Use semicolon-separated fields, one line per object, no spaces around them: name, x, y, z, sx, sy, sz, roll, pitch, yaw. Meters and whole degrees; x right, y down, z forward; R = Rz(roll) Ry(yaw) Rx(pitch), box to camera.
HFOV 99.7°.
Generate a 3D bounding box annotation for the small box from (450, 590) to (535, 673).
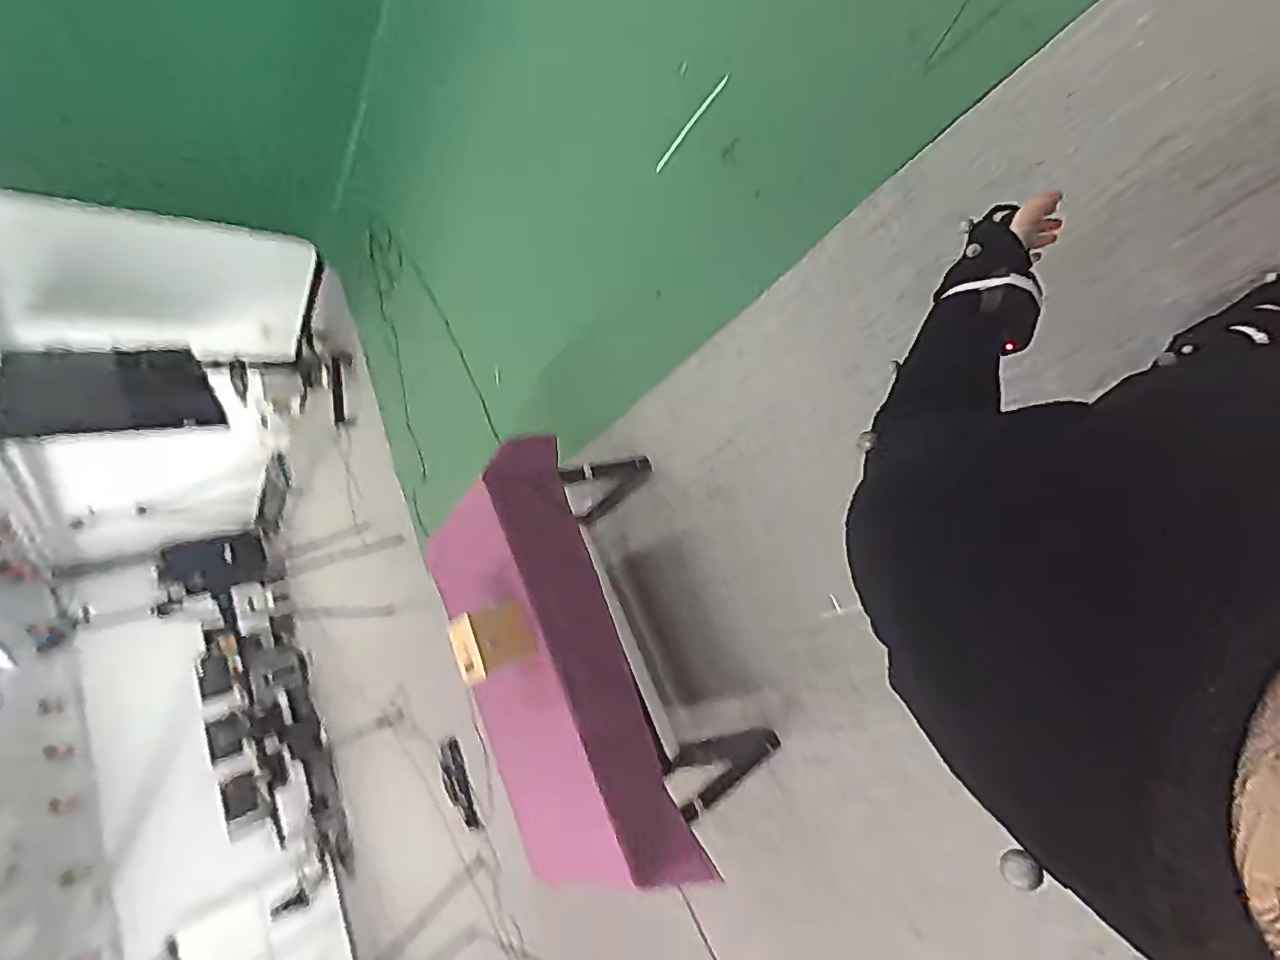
small box;-0.436;0.447;1.602;0.168;0.176;0.179;-36;71;44
